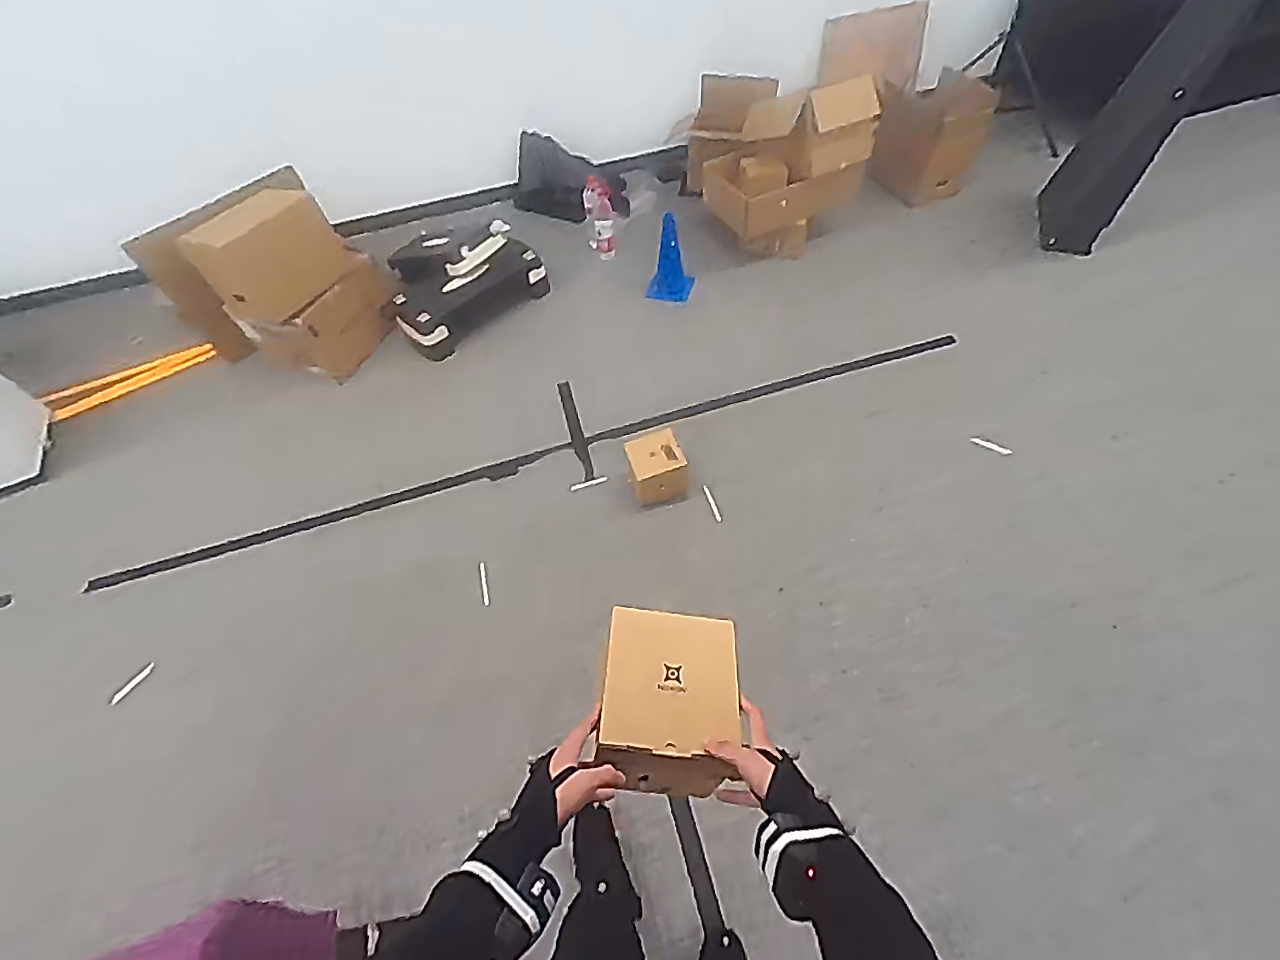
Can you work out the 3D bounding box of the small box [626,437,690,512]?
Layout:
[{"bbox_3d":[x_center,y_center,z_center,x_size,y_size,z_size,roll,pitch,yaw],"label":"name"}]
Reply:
[{"bbox_3d":[0.062,-0.017,1.857,0.179,0.176,0.168,-18,55,-7],"label":"small box"}]

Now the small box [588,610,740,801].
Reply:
[{"bbox_3d":[0.026,0.300,0.717,0.168,0.176,0.179,9,47,-4],"label":"small box"}]
